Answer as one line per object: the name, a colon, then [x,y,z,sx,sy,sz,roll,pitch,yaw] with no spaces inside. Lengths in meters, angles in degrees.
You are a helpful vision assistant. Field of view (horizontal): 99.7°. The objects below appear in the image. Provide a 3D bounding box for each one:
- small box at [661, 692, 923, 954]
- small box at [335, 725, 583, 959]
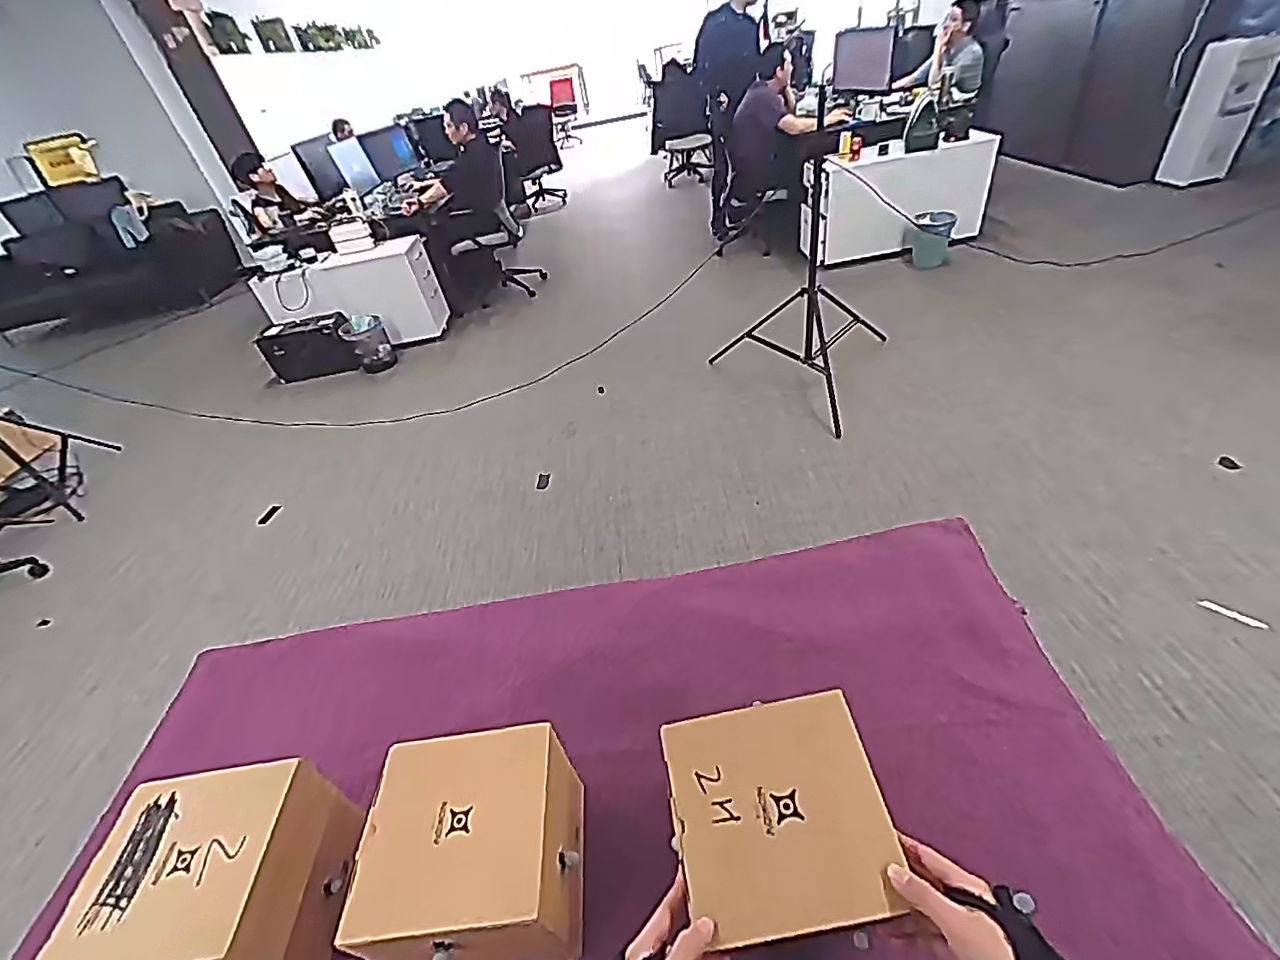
small box: [0.127,0.322,0.511,0.179,0.176,0.168,-13,50,3]
small box: [-0.158,0.378,0.550,0.179,0.176,0.168,-10,39,3]
